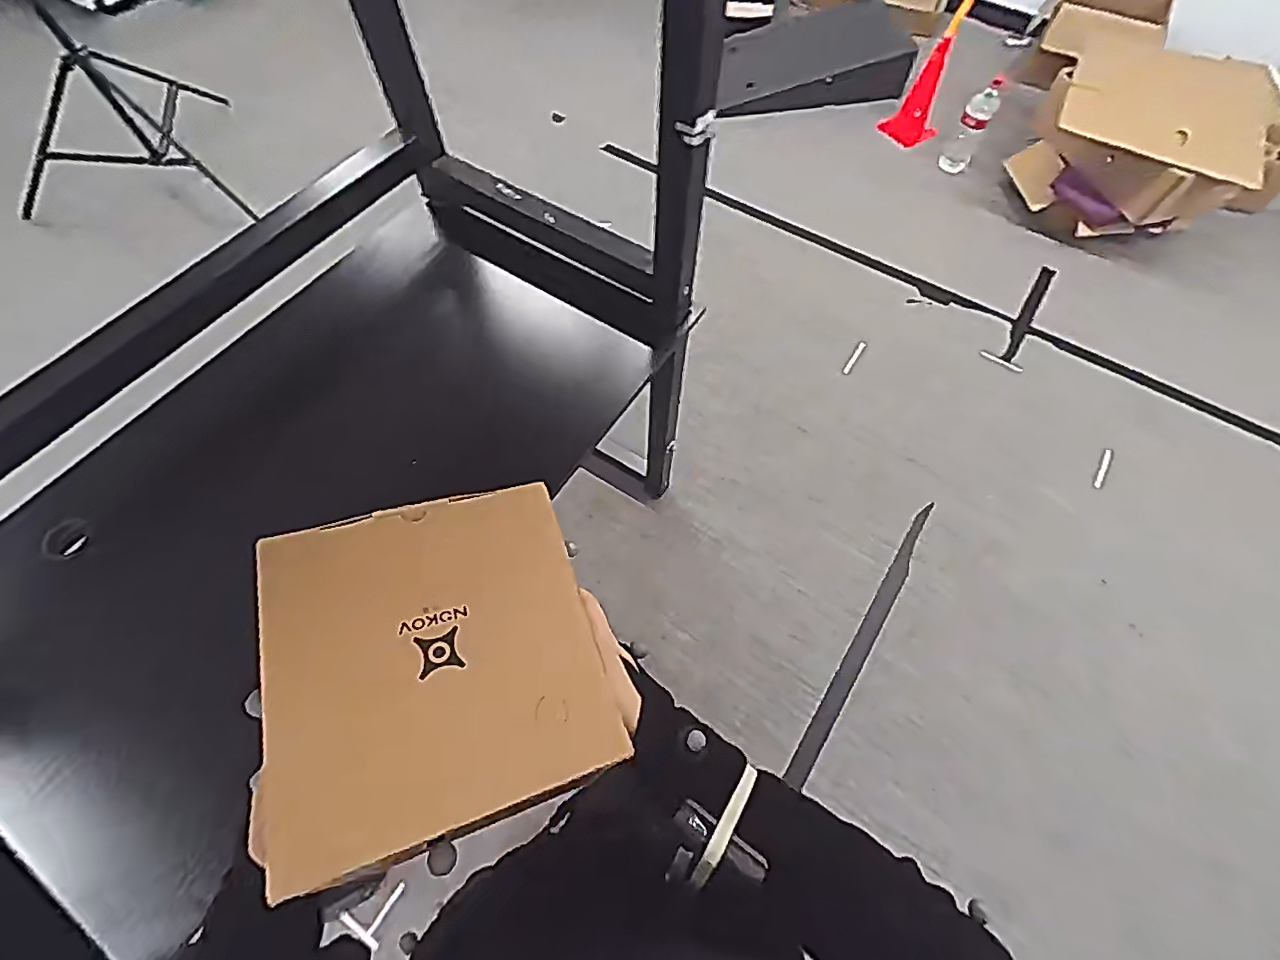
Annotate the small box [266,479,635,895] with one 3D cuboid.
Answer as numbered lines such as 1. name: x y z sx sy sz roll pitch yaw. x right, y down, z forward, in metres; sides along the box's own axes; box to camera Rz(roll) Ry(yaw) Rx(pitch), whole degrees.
1. small box: -0.118 0.129 0.353 0.168 0.176 0.179 -12 59 -20
